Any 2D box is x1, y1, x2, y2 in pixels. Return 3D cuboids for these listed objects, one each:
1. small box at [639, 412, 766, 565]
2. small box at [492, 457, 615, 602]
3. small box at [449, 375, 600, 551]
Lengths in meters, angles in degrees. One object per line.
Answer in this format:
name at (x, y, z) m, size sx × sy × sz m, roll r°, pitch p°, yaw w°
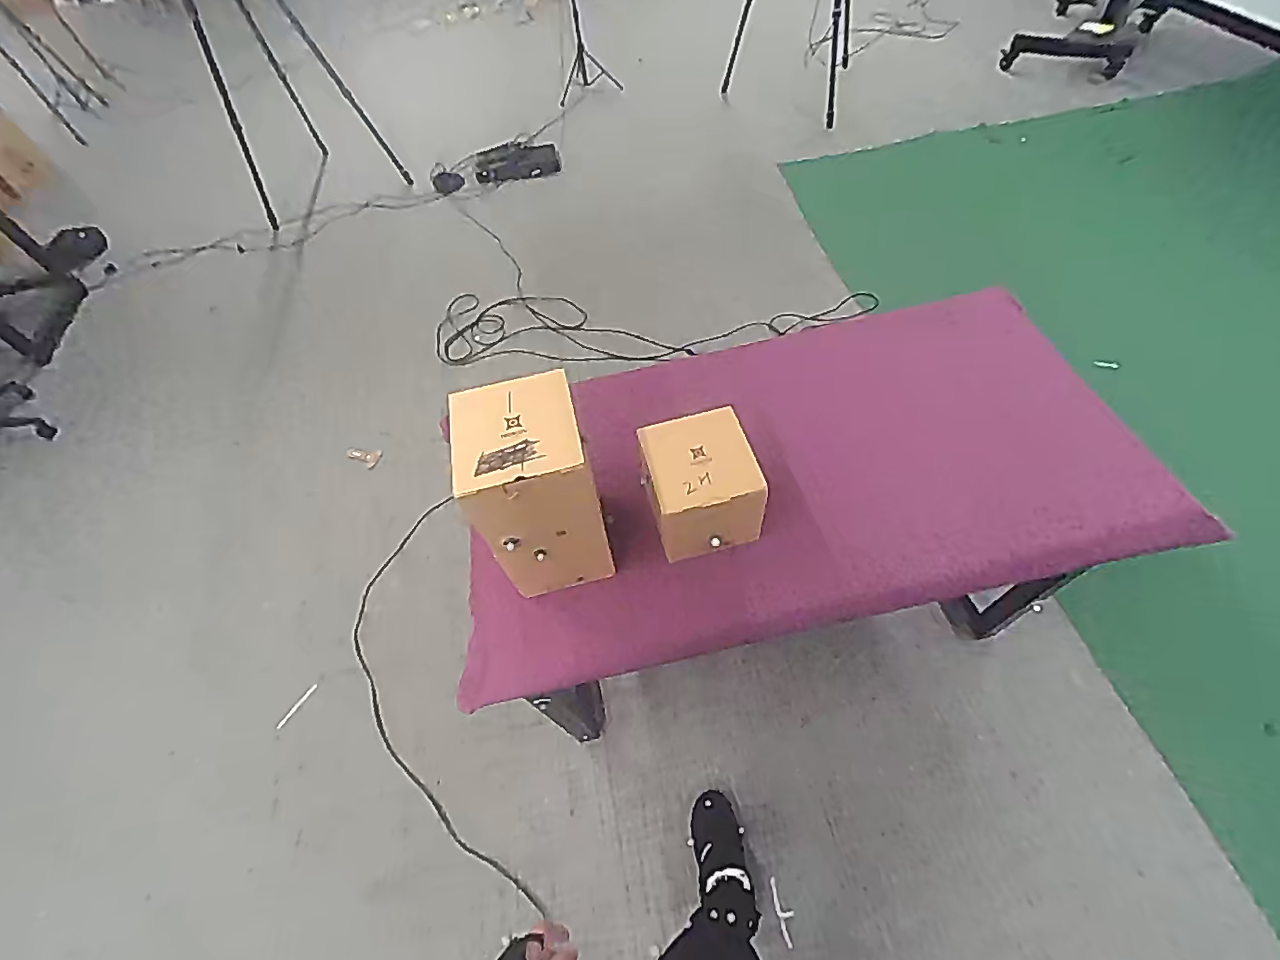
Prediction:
small box at (0.099, 0.018, 0.914) m, size 0.168 × 0.176 × 0.179 m, roll -14°, pitch 56°, yaw -2°
small box at (-0.145, 0.077, 0.902) m, size 0.168 × 0.176 × 0.179 m, roll -14°, pitch 55°, yaw -2°
small box at (-0.159, -0.015, 0.766) m, size 0.168 × 0.176 × 0.179 m, roll -13°, pitch 55°, yaw -3°
